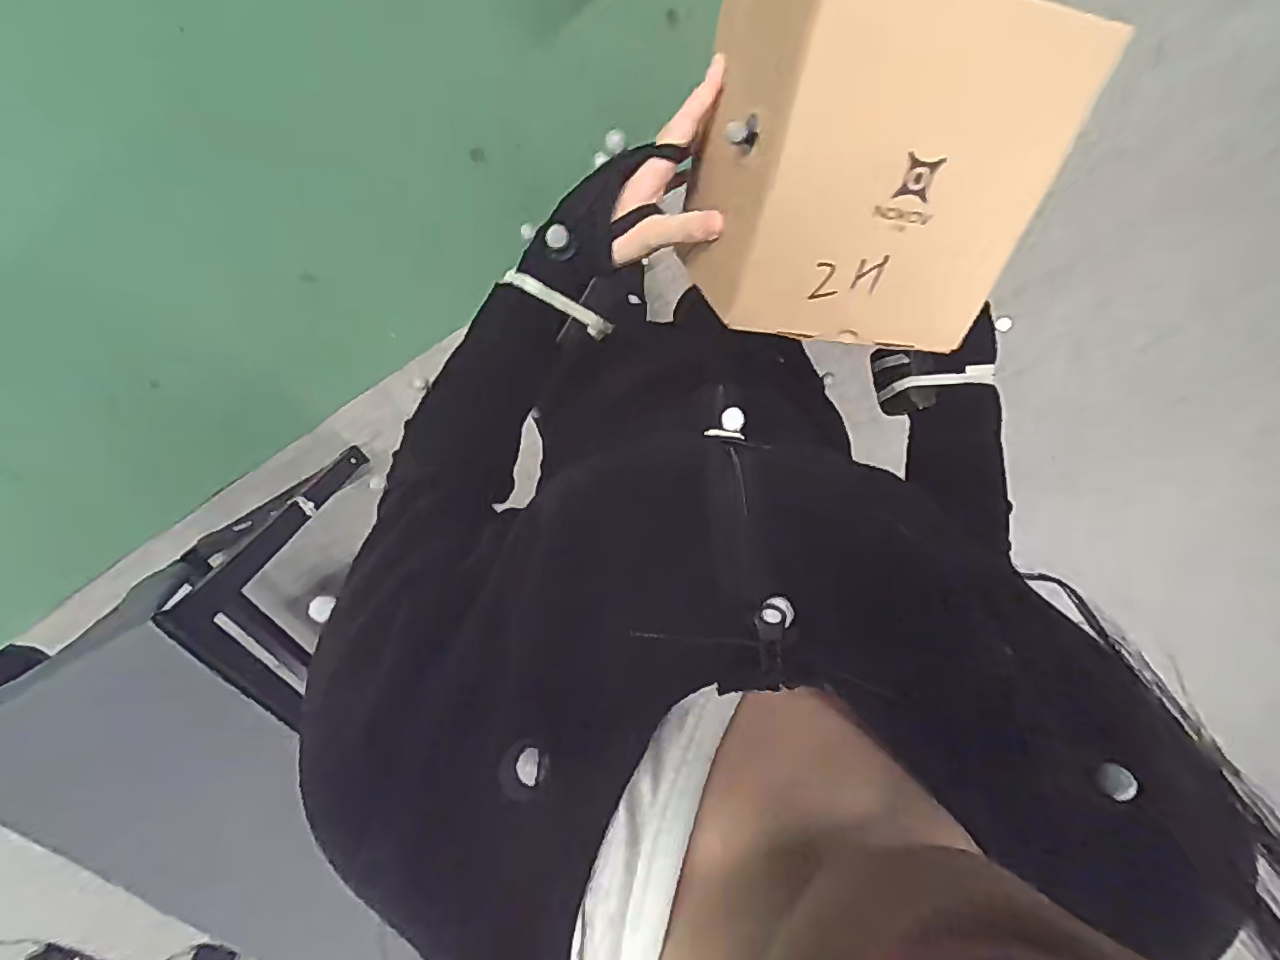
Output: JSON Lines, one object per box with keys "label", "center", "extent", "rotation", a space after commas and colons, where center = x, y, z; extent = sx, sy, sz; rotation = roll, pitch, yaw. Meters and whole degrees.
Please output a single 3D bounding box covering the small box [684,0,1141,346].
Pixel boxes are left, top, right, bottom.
{"label": "small box", "center": [0.136, -0.210, 0.351], "extent": [0.168, 0.176, 0.179], "rotation": [4, 127, -13]}
